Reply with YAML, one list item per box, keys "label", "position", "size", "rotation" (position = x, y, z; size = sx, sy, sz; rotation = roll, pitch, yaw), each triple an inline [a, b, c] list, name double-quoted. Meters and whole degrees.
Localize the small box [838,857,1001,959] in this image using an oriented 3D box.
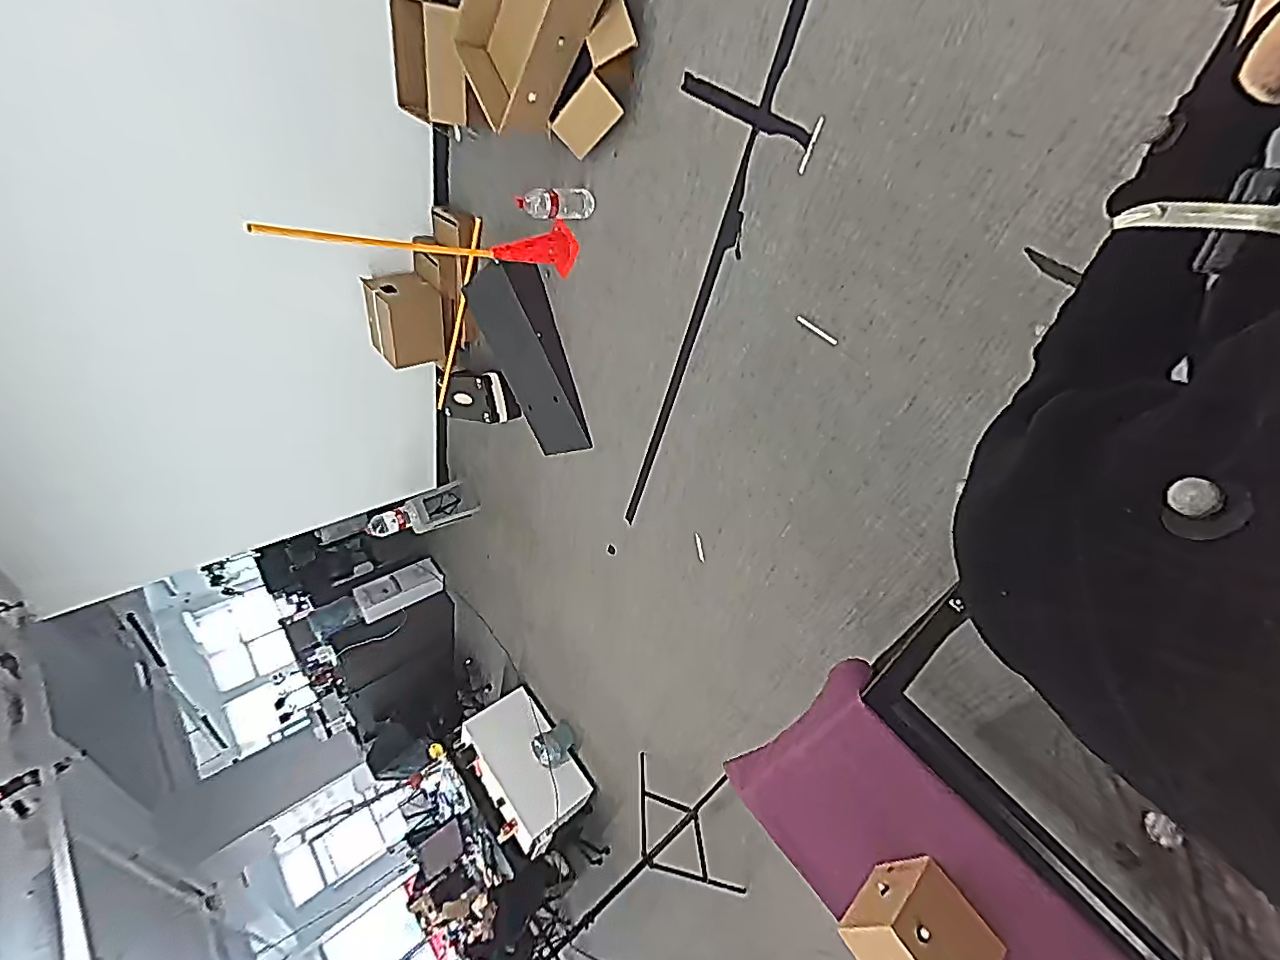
- label: "small box"
  position: [0.515, 0.836, 1.002]
  size: [0.179, 0.176, 0.168]
  rotation: [50, 141, 21]
